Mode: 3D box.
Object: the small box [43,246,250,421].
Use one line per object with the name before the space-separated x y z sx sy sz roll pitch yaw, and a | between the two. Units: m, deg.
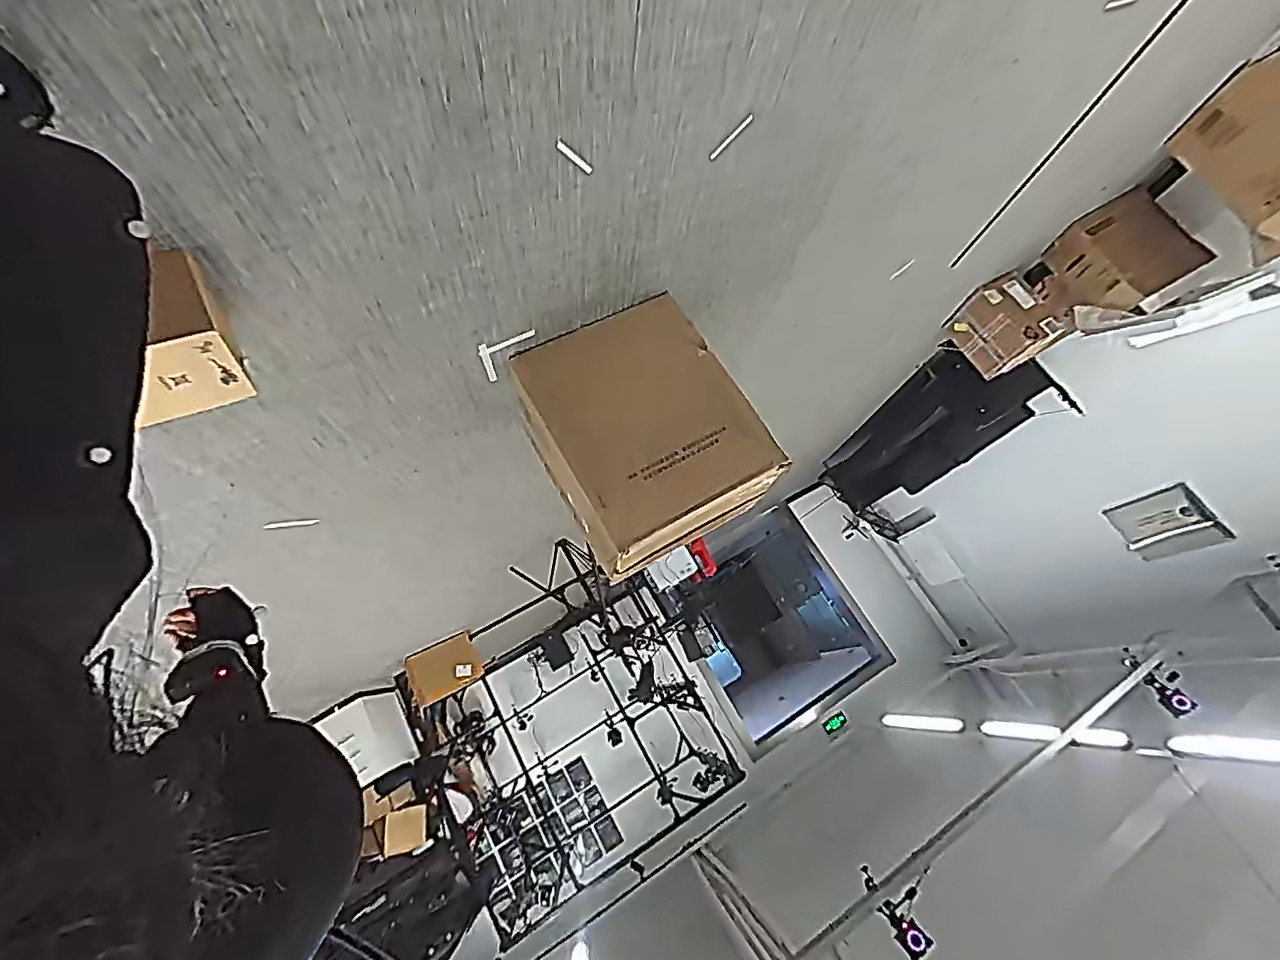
small box | -0.737 -0.222 0.816 0.179 0.176 0.168 -23 163 -25
